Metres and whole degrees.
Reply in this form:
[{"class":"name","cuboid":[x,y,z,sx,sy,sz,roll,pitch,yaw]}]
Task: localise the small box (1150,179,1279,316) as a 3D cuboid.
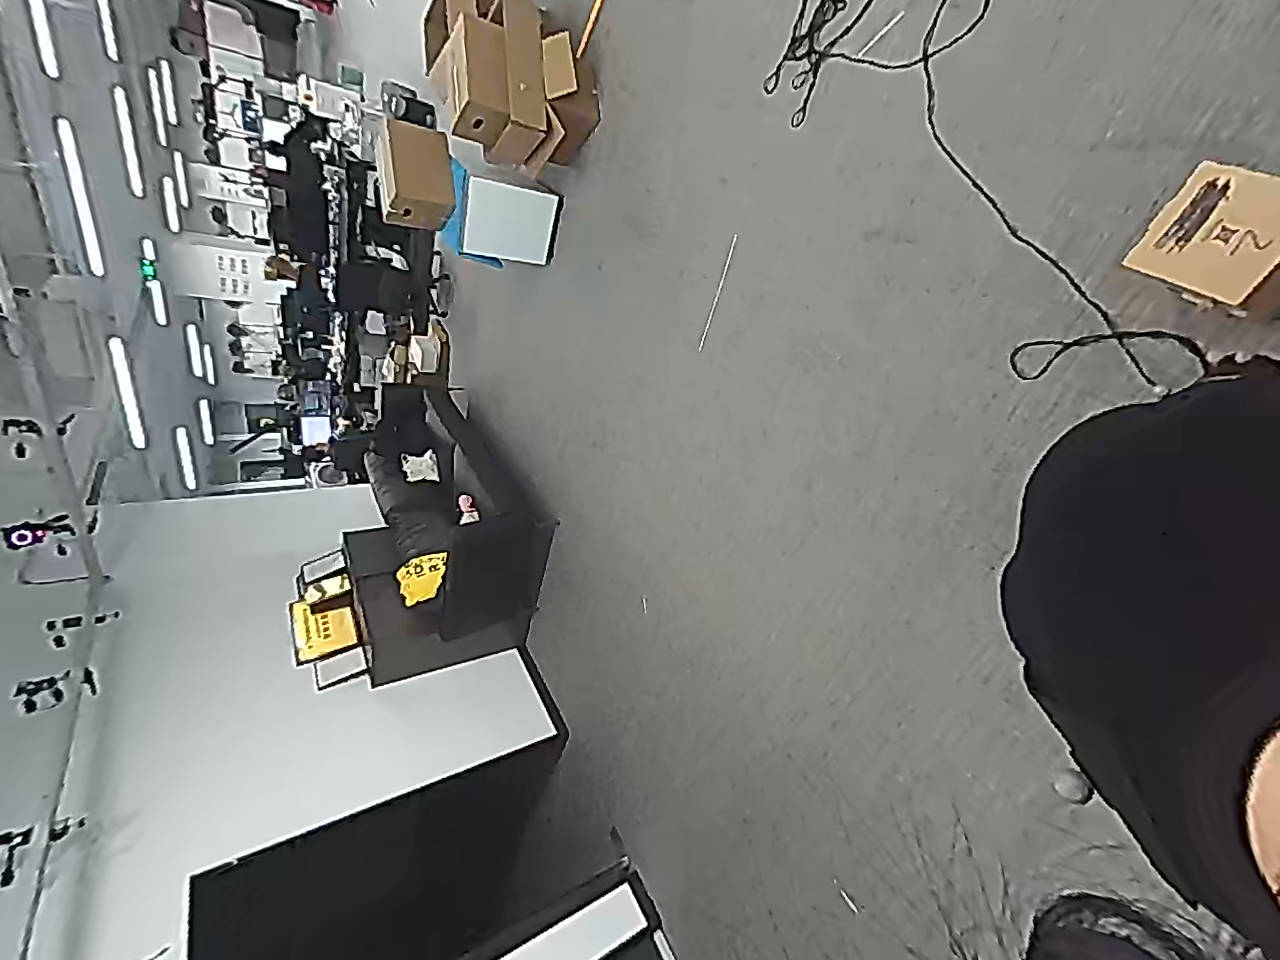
[{"class":"small box","cuboid":[1.093,-0.408,0.970,0.168,0.176,0.179,51,135,38]}]
